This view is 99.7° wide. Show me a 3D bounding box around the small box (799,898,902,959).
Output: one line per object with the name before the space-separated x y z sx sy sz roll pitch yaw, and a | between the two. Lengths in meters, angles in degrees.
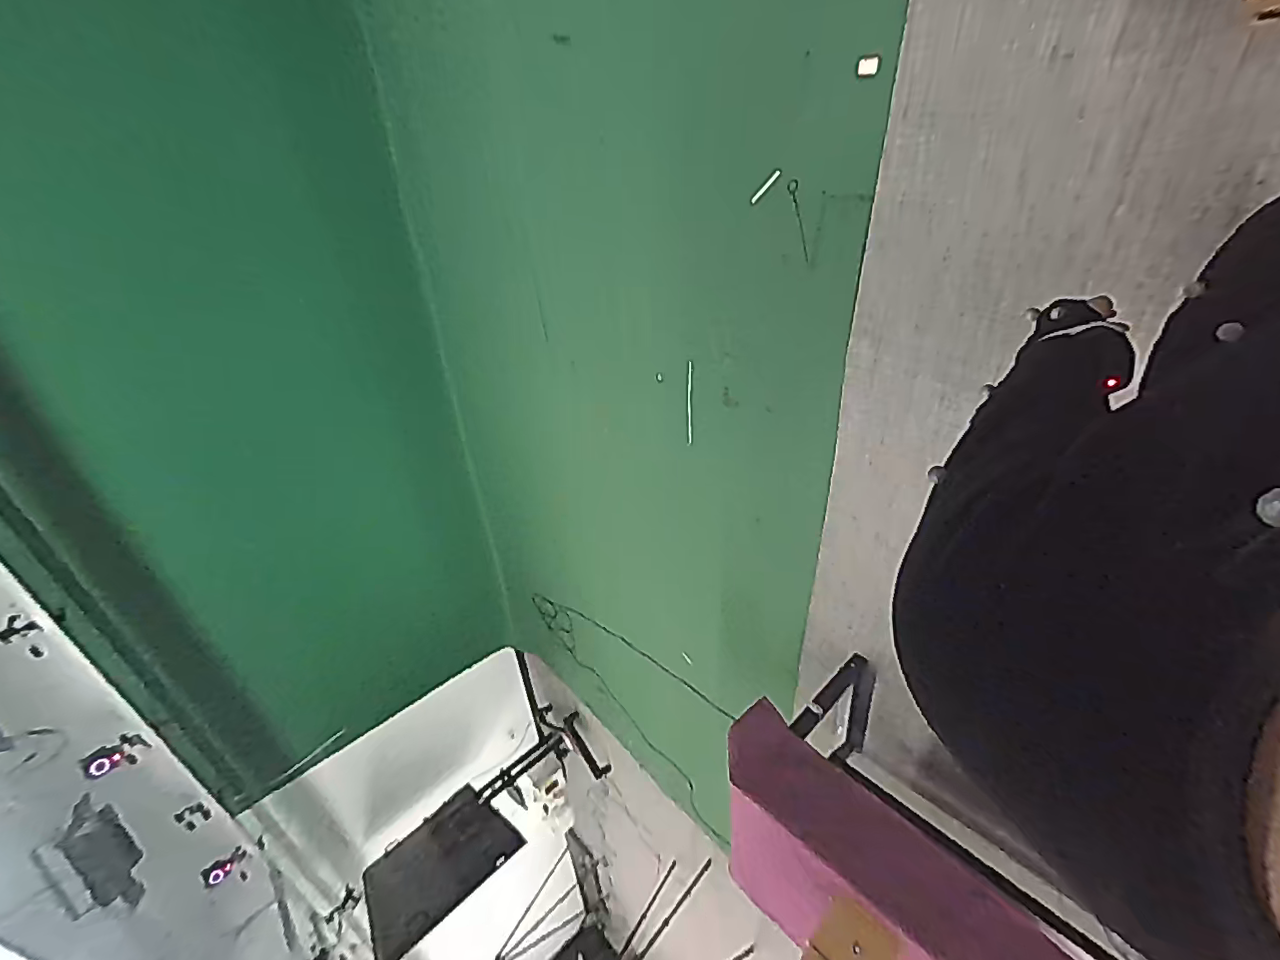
small box | 0.528 1.213 1.371 0.179 0.176 0.168 28 134 40
